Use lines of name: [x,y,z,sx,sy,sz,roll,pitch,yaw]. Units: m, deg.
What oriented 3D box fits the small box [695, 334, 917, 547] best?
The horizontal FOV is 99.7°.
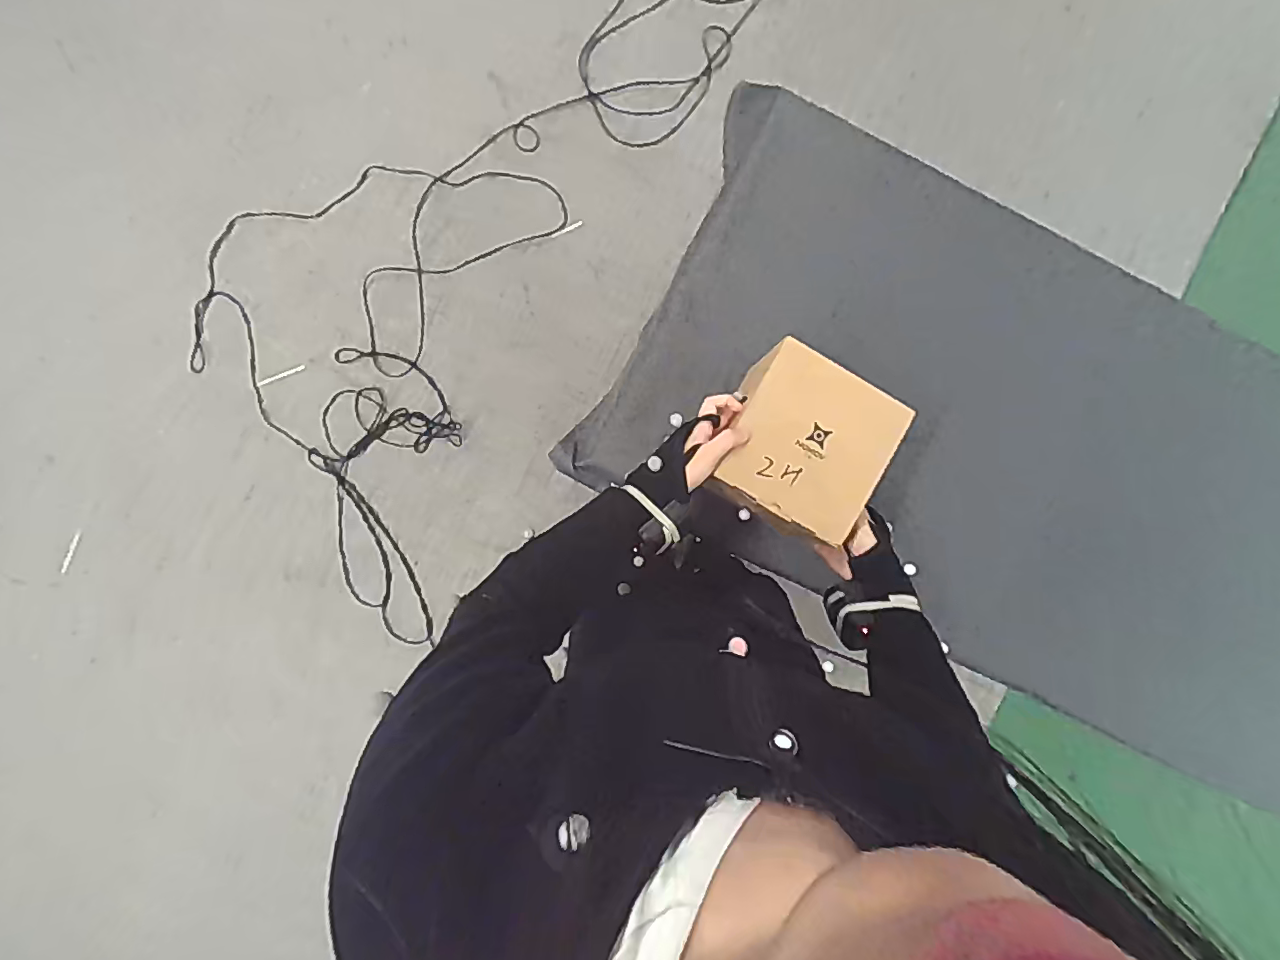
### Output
small box: [0.184,-0.039,0.655,0.168,0.176,0.179,31,86,-3]
